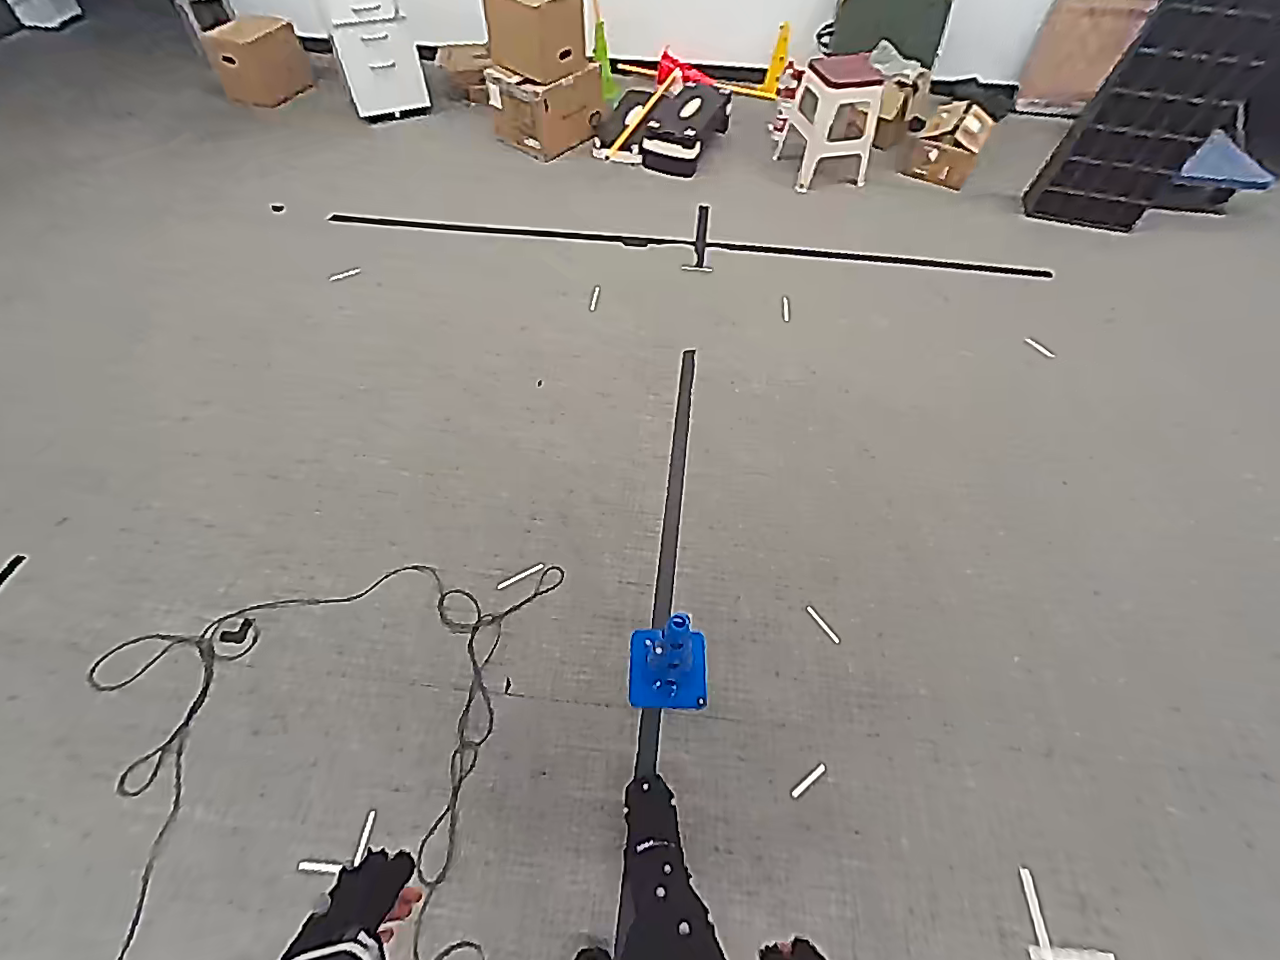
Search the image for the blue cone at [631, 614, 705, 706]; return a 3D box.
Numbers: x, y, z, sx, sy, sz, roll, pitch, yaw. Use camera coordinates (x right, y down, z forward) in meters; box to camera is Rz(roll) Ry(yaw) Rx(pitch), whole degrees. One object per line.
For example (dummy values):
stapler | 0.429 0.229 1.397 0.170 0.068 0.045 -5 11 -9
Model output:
blue cone | 0.082 0.400 1.282 0.192 0.380 0.193 4 56 0
